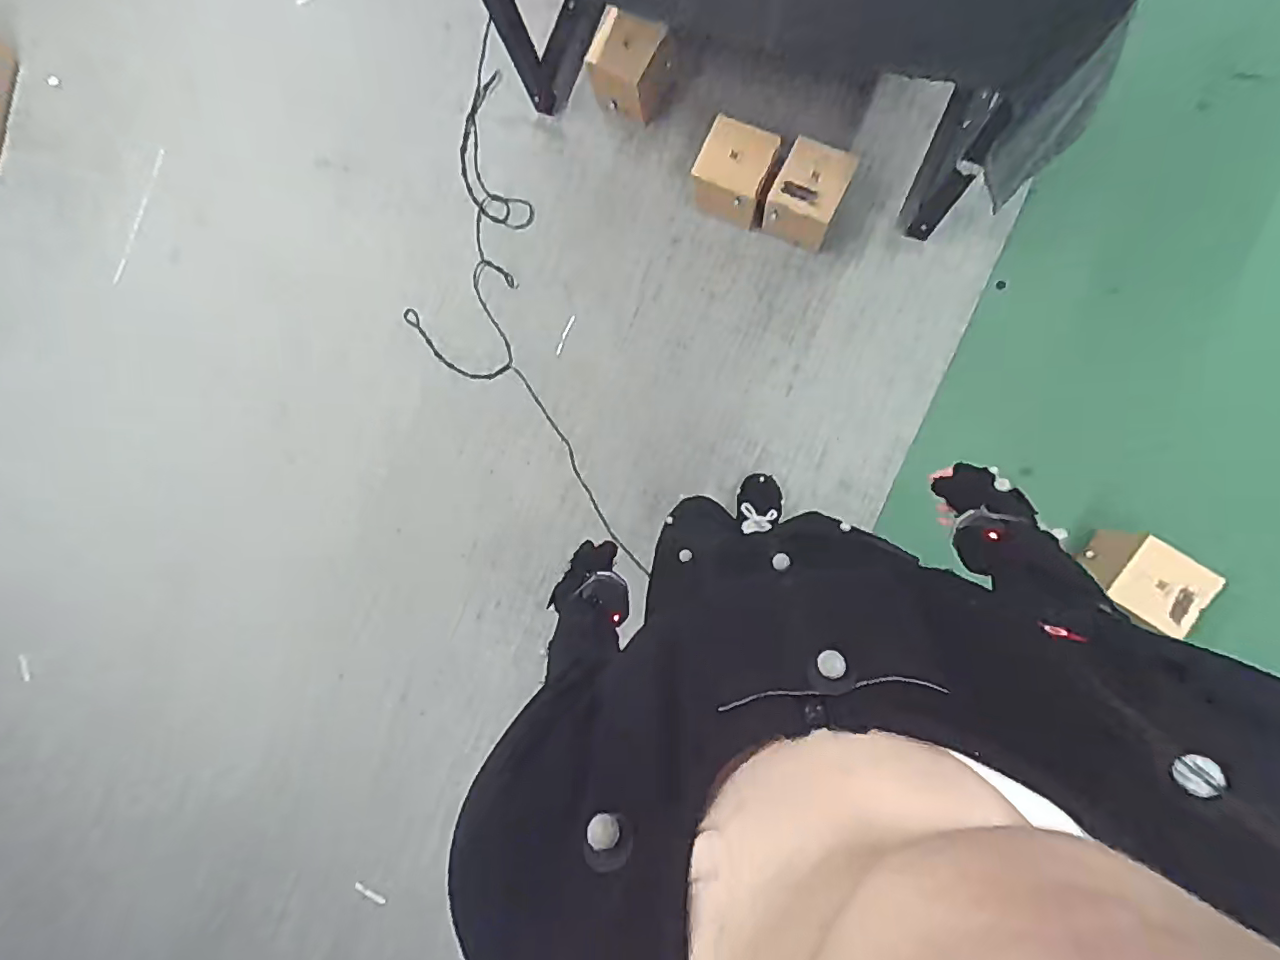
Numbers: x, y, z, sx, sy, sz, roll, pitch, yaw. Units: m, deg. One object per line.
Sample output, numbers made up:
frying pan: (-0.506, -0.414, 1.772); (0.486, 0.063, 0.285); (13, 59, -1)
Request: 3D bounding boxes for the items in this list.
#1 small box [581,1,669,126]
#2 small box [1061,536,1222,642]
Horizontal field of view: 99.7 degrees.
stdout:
small box: (-0.033, -1.117, 1.462); (0.168, 0.176, 0.179); (32, 92, 9)
small box: (1.146, 0.240, 1.252); (0.179, 0.176, 0.168); (35, 92, 9)
